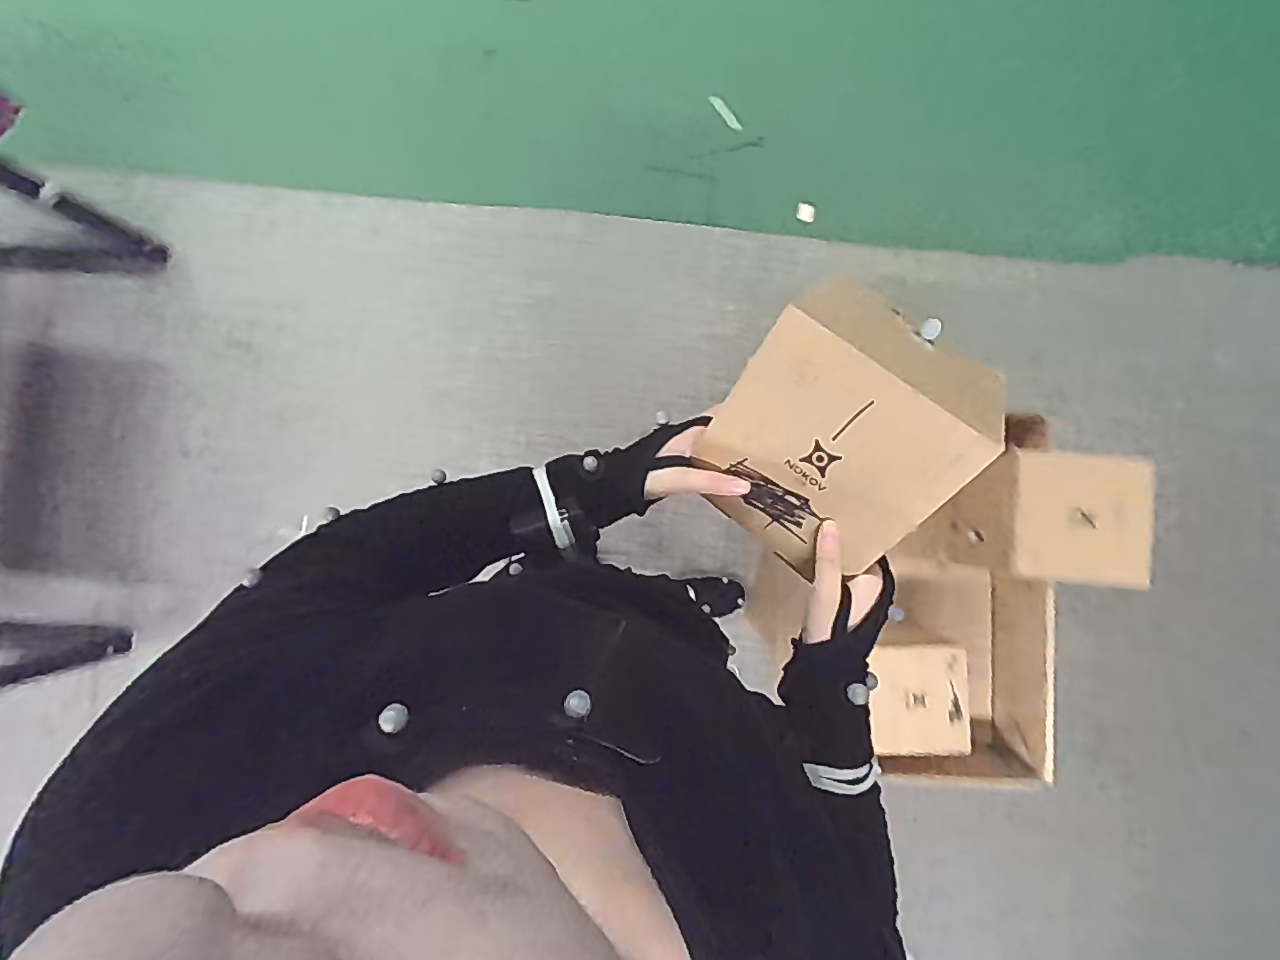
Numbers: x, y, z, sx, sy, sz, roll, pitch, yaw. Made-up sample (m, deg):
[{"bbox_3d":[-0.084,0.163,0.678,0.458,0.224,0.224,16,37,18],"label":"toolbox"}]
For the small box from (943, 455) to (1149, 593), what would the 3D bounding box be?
[{"bbox_3d":[0.573,0.060,0.786,0.179,0.176,0.168,6,88,0],"label":"small box"}]
